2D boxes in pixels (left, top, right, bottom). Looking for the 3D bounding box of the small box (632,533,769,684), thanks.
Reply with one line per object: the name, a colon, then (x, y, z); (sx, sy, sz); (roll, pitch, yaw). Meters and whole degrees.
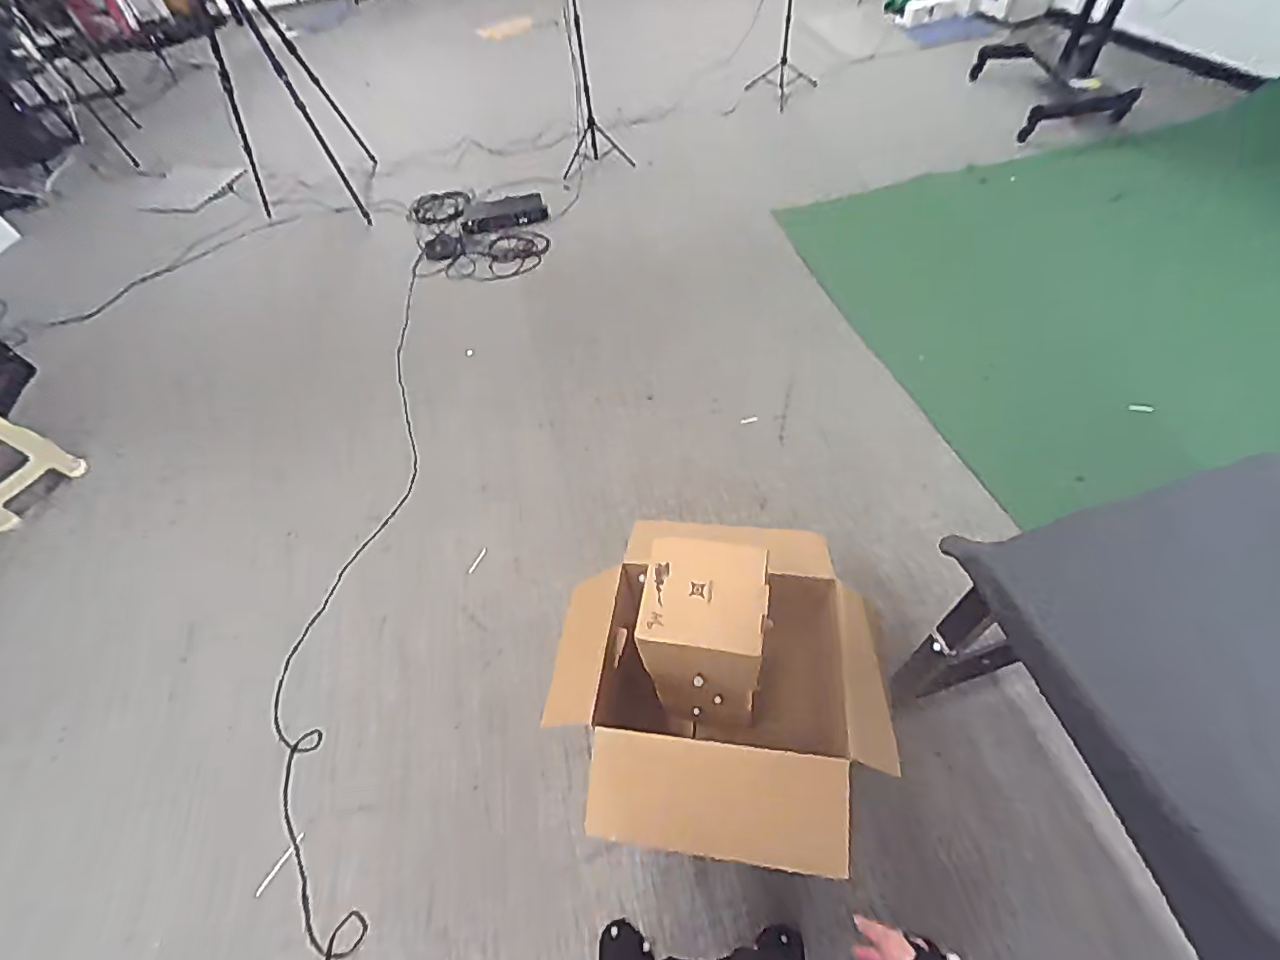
small box: (0.097, 0.202, 0.835); (0.179, 0.176, 0.168); (6, 56, 12)
